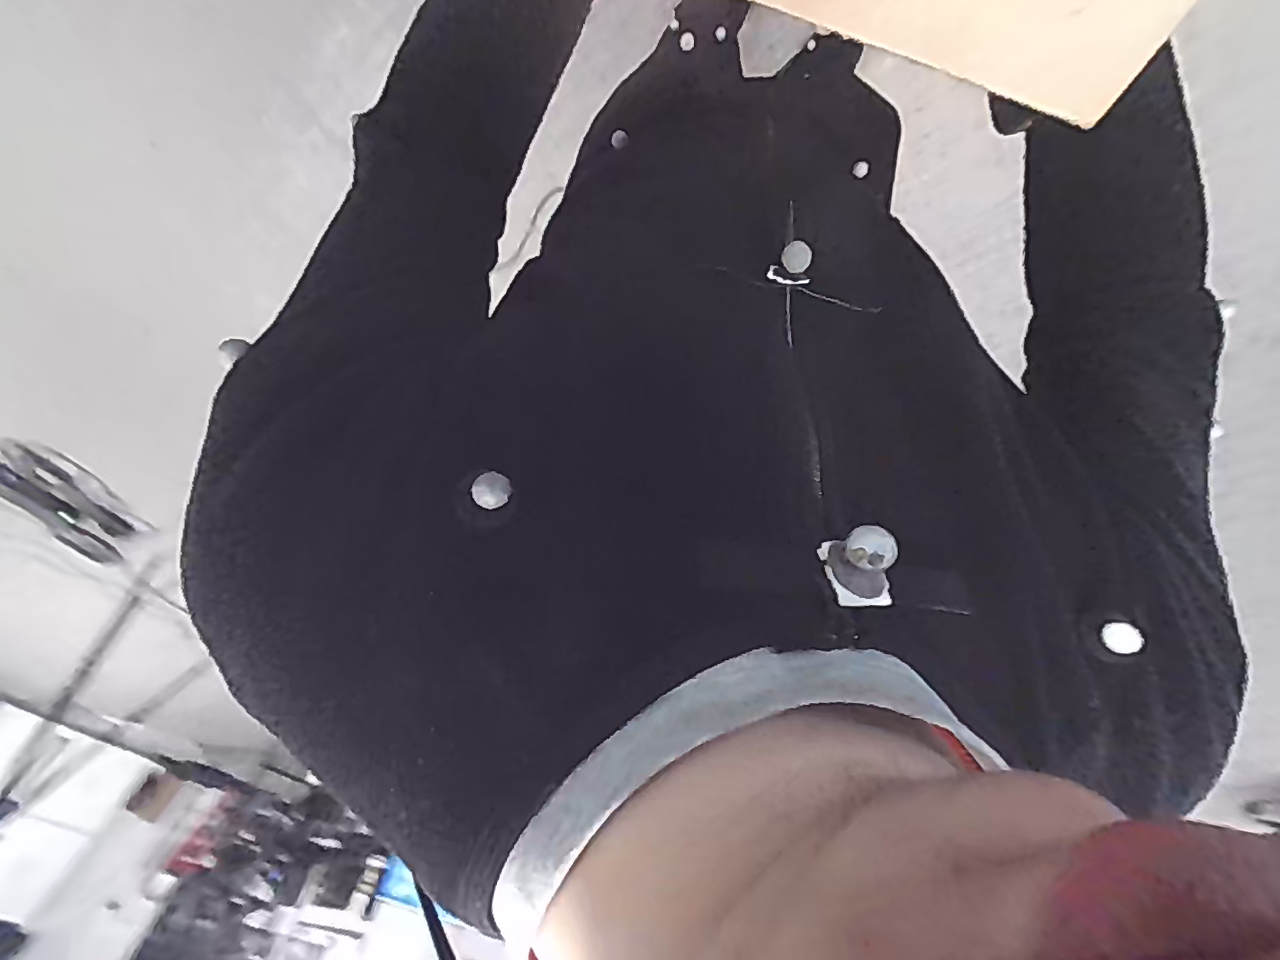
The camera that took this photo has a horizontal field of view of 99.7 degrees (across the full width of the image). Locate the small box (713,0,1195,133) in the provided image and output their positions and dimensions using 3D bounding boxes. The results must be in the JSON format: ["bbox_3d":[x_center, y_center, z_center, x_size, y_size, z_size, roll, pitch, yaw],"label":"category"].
[{"bbox_3d":[0.116,-0.260,0.175,0.168,0.176,0.179,14,141,-6],"label":"small box"}]
